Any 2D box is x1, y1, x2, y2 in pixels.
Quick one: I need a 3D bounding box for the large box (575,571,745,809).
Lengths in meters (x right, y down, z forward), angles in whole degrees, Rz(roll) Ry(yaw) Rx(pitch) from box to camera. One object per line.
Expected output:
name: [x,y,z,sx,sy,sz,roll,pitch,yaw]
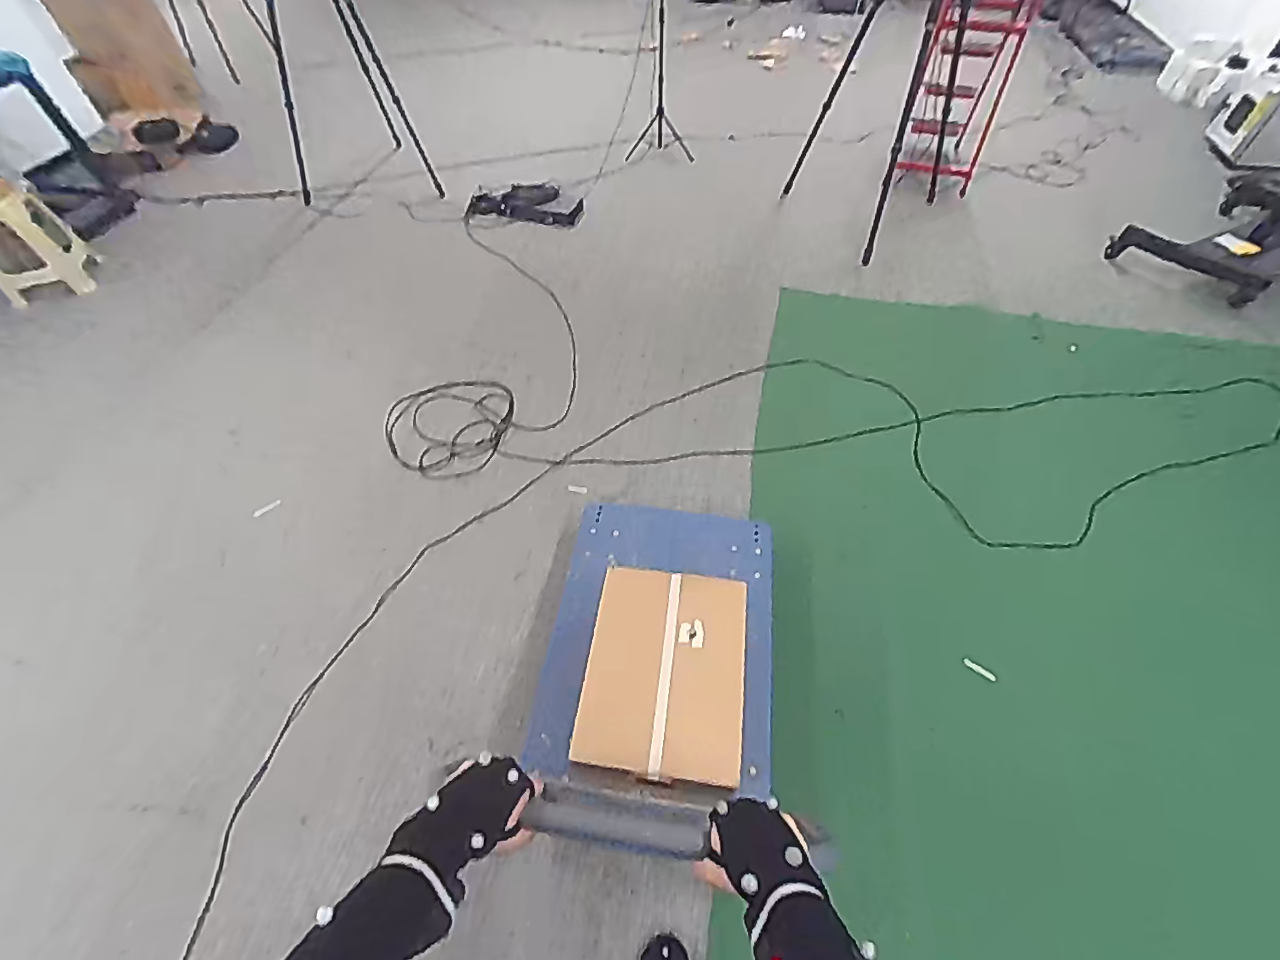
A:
large box: [0.058,0.466,1.203,0.320,0.320,0.408,7,52,5]
